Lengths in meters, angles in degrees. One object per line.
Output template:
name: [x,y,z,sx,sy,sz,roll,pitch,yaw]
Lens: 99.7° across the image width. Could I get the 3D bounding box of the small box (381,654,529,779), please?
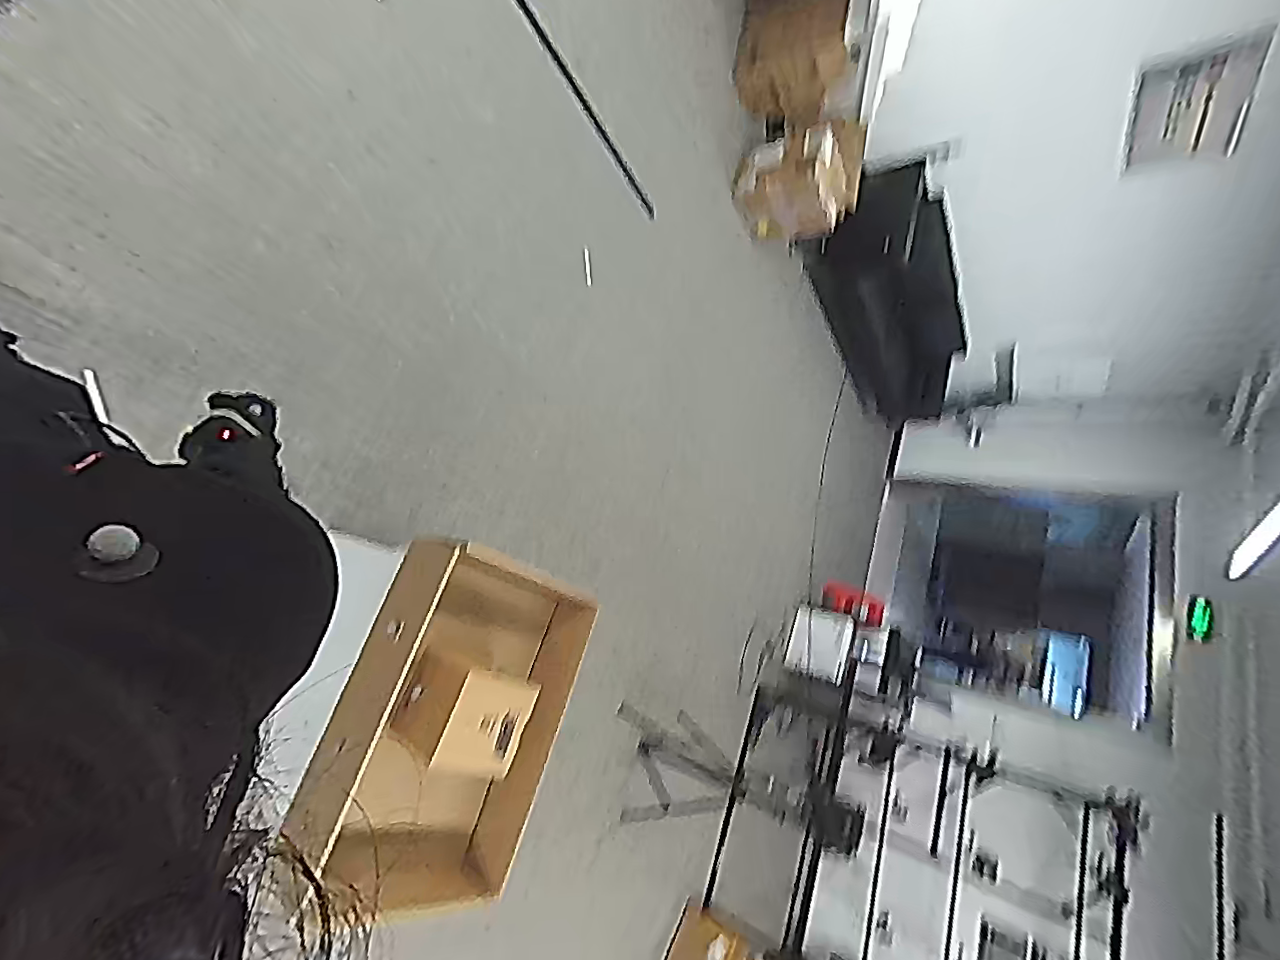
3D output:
small box: [-0.353,0.448,1.036,0.179,0.176,0.168,39,64,-42]
